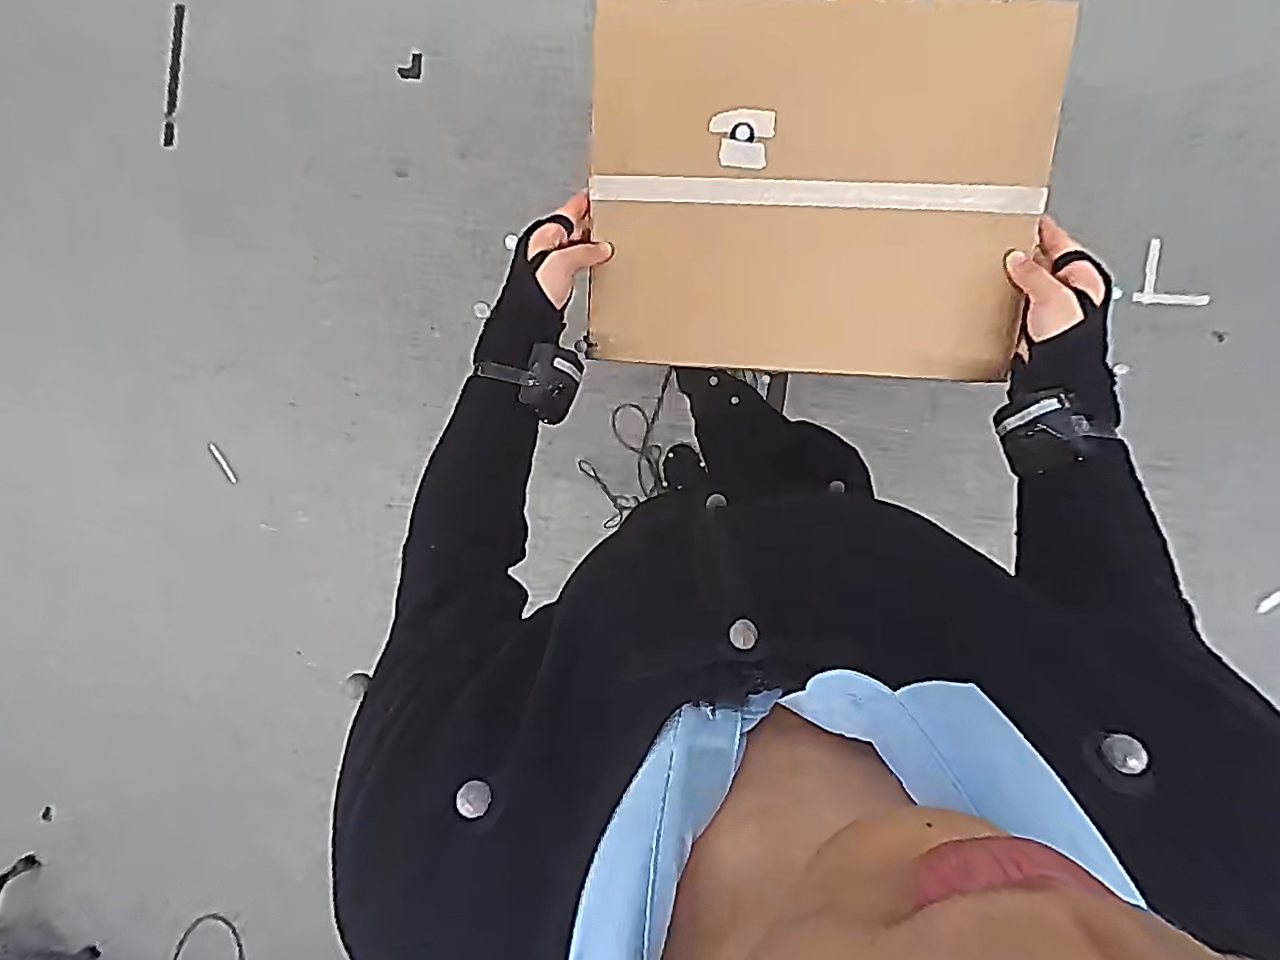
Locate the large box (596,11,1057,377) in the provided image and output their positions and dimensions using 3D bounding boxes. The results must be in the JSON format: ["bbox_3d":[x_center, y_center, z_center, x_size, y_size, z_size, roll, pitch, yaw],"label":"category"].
[{"bbox_3d":[0.172,-0.291,0.654,0.408,0.320,0.320,4,101,4],"label":"large box"}]
